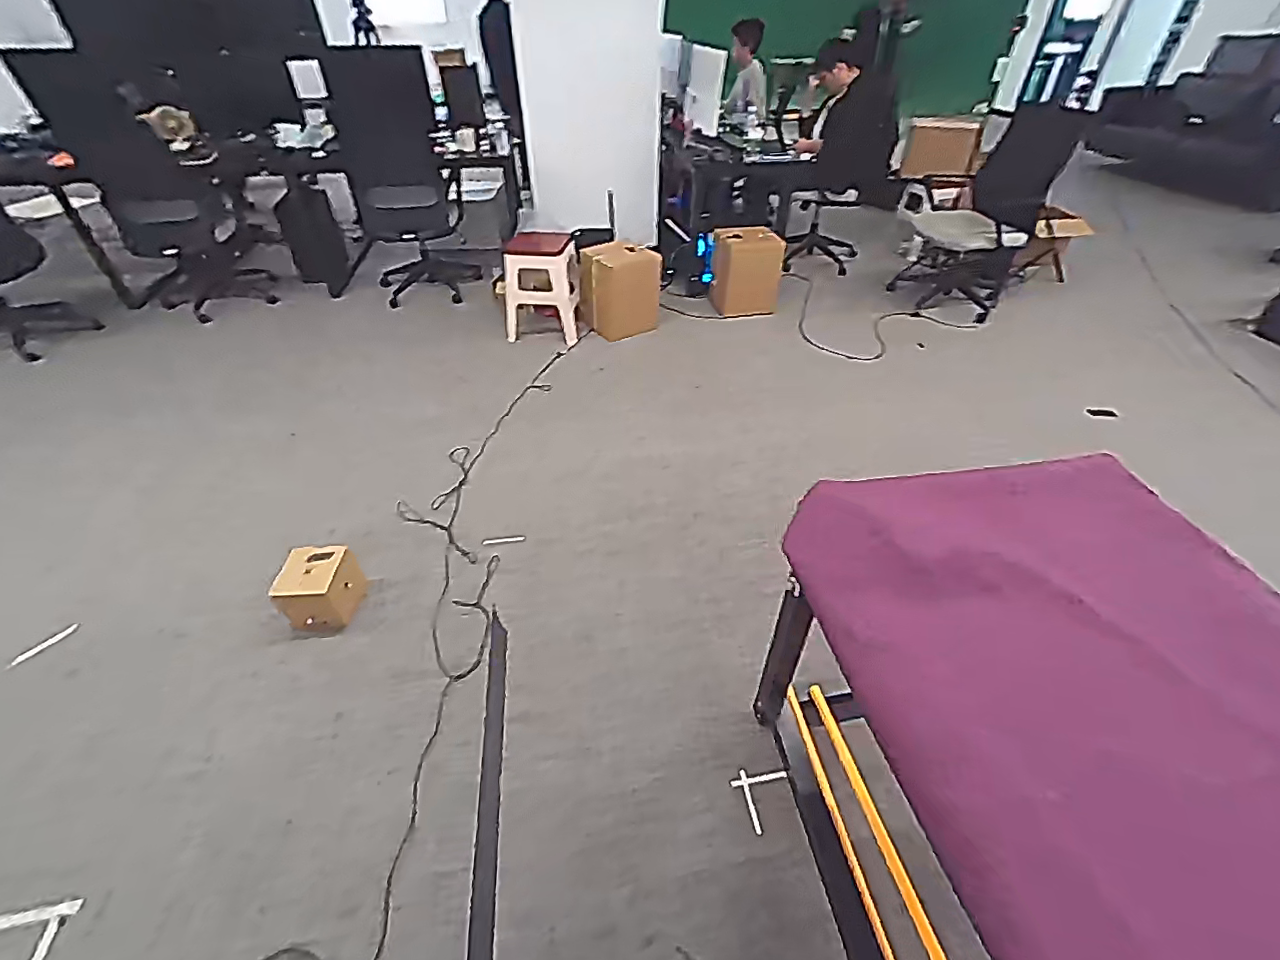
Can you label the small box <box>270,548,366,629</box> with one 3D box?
[{"bbox_3d":[-0.945,0.323,1.610,0.168,0.176,0.179,-2,42,-1],"label":"small box"}]
